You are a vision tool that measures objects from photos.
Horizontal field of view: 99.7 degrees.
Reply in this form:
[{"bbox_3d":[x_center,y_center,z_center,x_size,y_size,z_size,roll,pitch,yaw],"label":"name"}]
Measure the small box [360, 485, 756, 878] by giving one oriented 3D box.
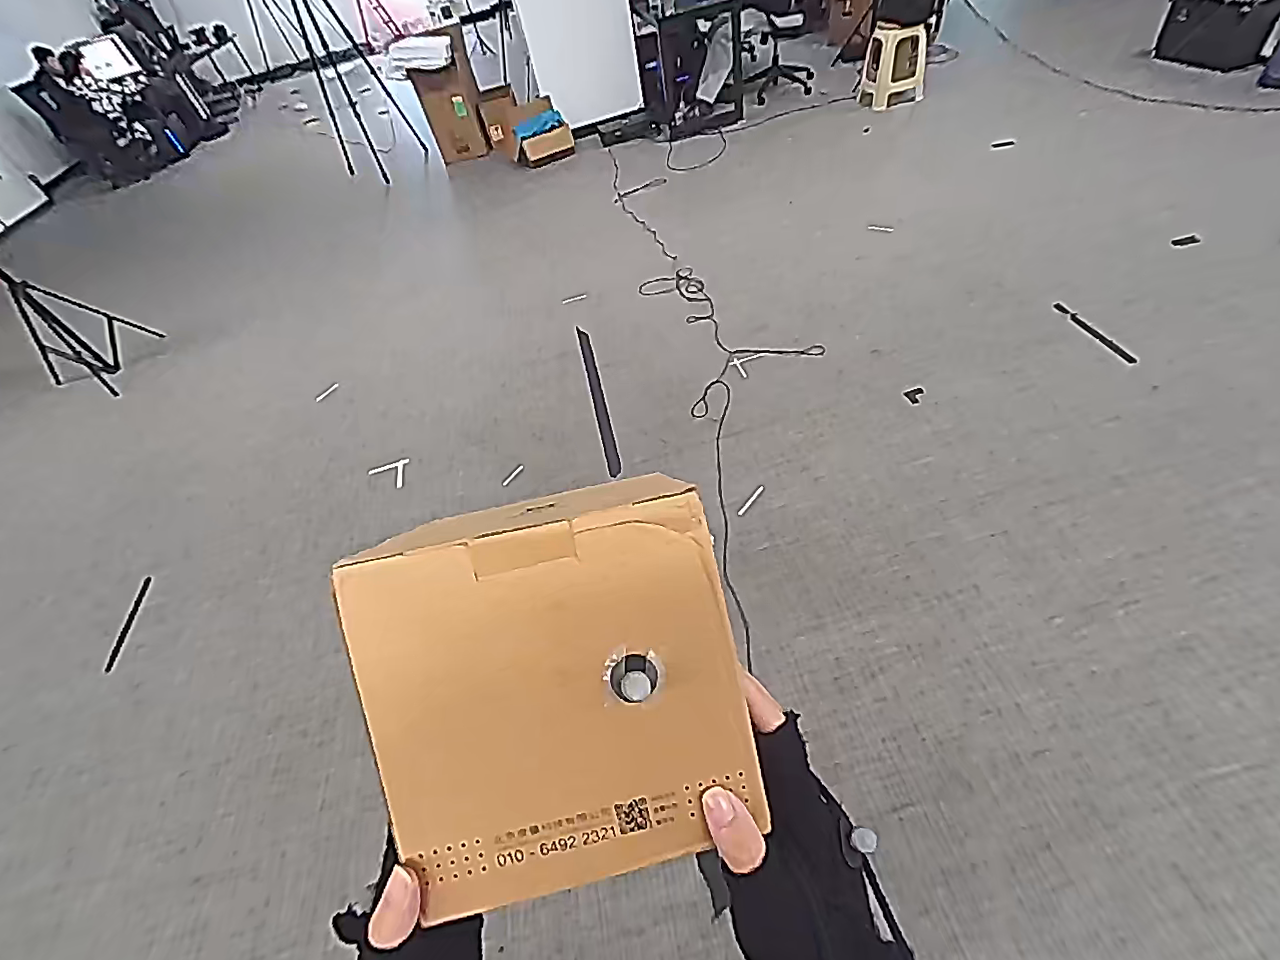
[{"bbox_3d":[-0.038,0.107,0.340,0.168,0.176,0.179,-12,3,-3],"label":"small box"}]
